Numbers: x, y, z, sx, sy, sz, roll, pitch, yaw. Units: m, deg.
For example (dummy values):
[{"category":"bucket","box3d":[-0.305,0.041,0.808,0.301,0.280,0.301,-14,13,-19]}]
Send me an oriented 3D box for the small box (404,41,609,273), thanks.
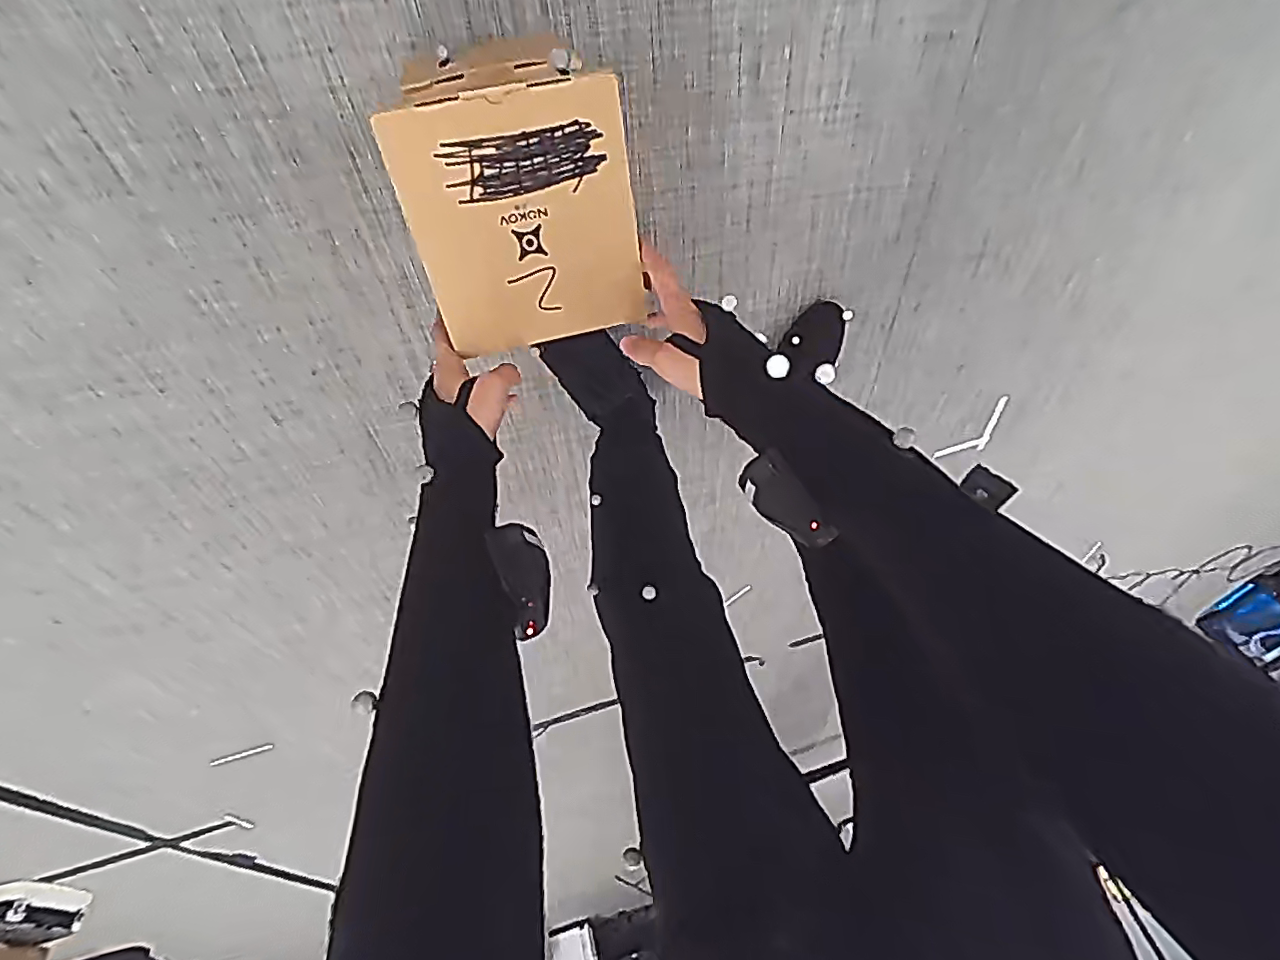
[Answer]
[{"category":"small box","box3d":[-0.141,-0.358,0.591,0.168,0.176,0.179,-15,136,-6]}]
